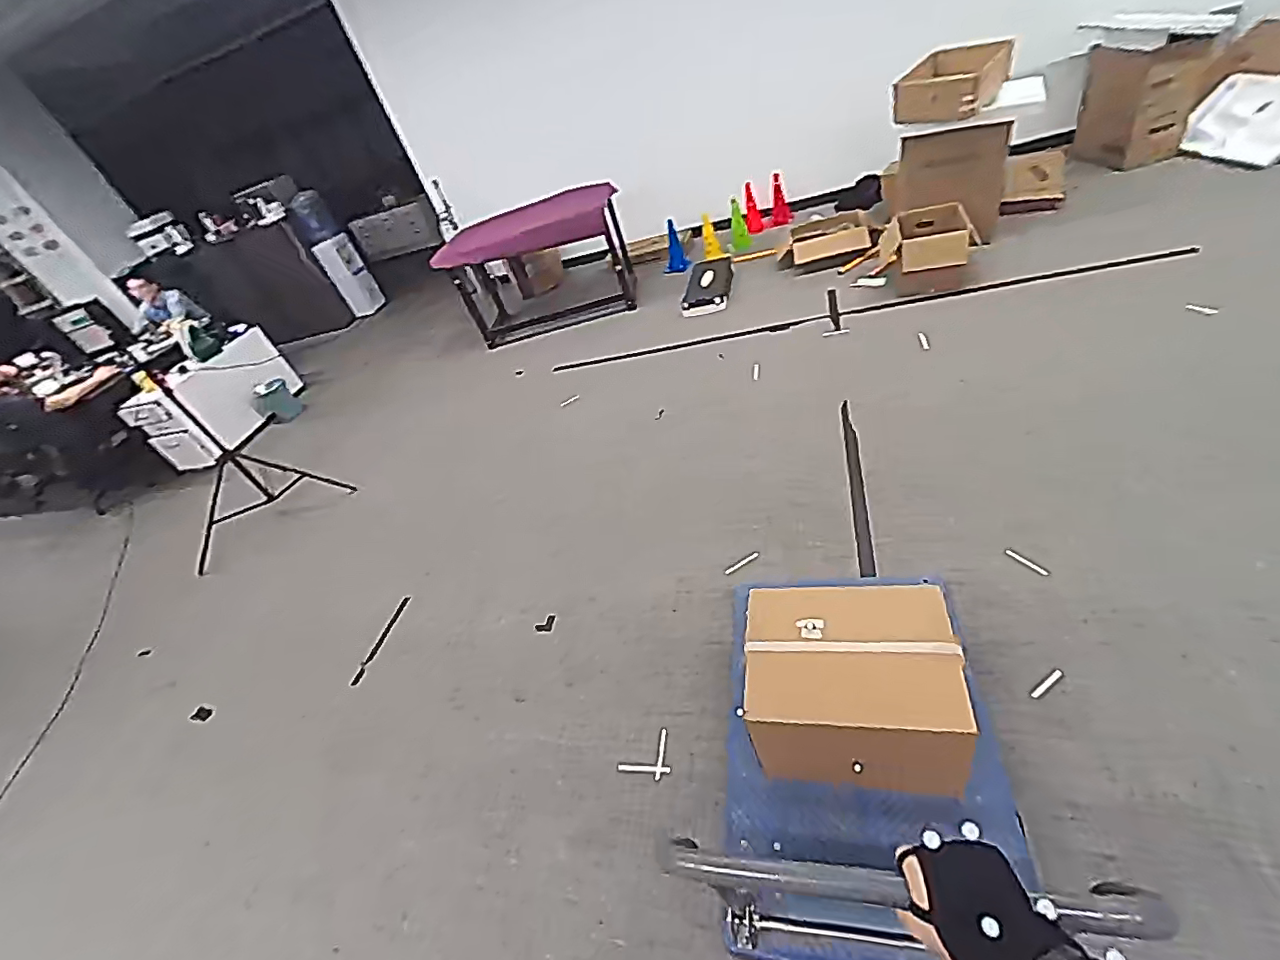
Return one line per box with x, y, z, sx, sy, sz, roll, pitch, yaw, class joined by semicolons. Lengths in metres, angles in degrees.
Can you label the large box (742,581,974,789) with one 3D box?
0.455;0.447;1.181;0.408;0.320;0.320;-7;40;20;large box
